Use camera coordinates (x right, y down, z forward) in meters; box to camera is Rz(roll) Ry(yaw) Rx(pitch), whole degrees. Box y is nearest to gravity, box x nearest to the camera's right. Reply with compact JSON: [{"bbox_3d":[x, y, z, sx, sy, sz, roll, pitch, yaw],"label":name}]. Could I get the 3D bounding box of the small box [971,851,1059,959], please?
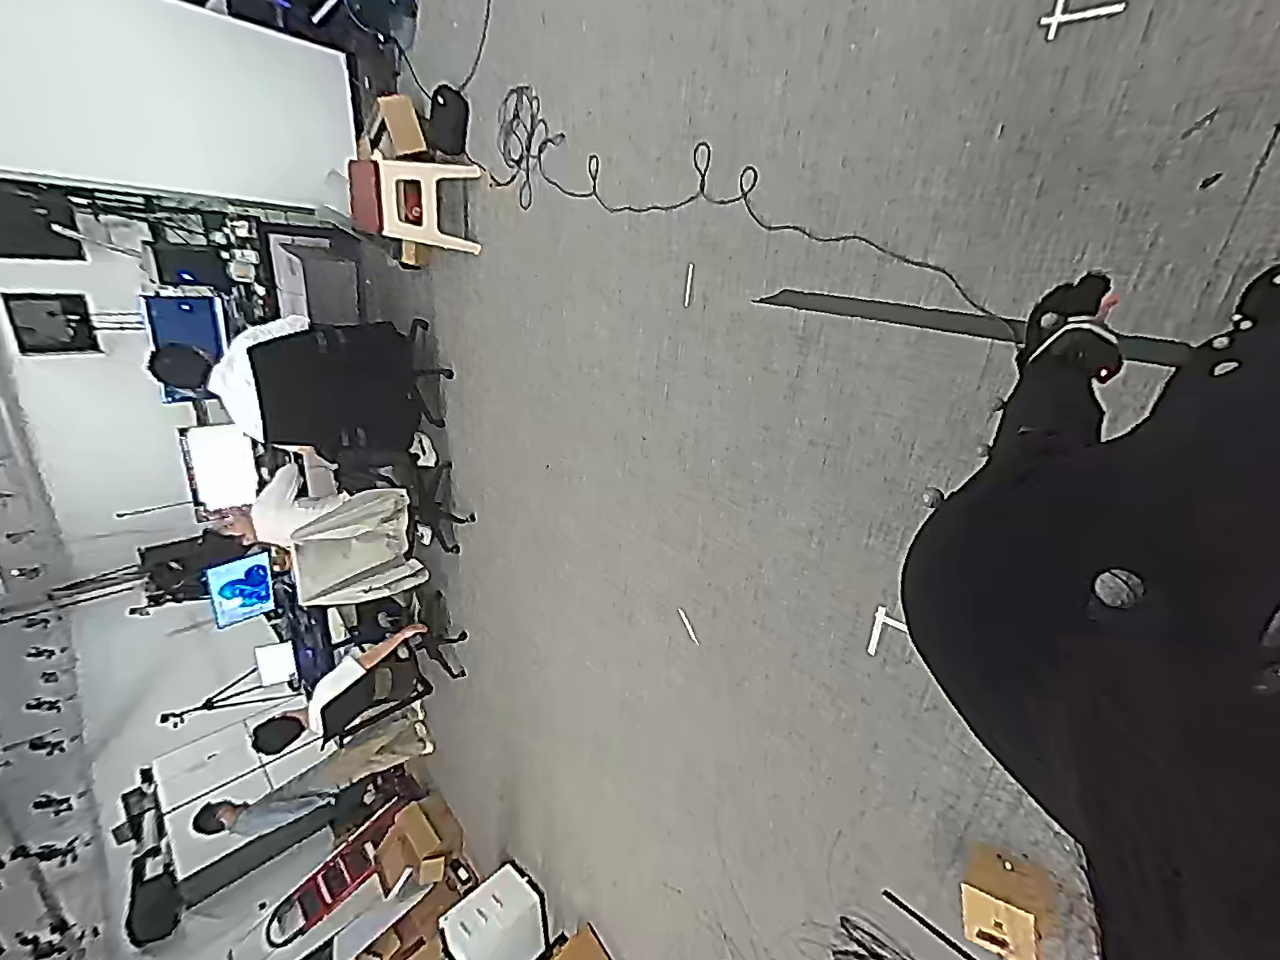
[{"bbox_3d":[1.012,1.162,1.454,0.168,0.176,0.179,-1,101,46],"label":"small box"}]
